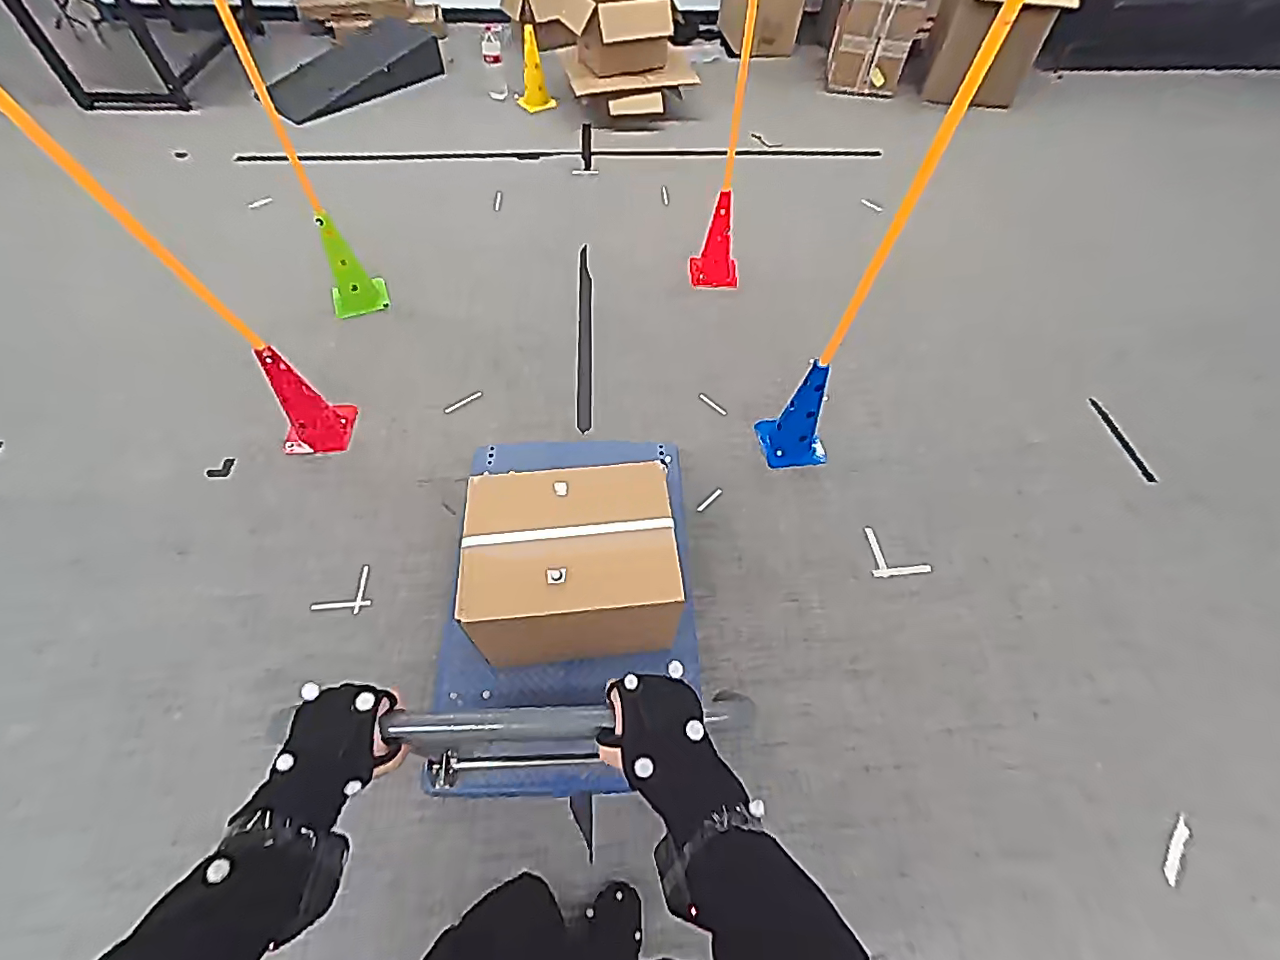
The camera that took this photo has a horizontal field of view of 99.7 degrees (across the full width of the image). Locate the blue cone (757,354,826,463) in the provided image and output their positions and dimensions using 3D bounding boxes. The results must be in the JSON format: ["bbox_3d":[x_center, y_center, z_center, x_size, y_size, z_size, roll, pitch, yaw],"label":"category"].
[{"bbox_3d":[0.504,-0.229,1.667,0.193,0.380,0.192,-5,56,-6],"label":"blue cone"}]

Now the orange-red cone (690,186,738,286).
[{"bbox_3d":[0.320,-0.981,2.146,0.199,0.360,0.198,4,57,-1],"label":"orange-red cone"}]
